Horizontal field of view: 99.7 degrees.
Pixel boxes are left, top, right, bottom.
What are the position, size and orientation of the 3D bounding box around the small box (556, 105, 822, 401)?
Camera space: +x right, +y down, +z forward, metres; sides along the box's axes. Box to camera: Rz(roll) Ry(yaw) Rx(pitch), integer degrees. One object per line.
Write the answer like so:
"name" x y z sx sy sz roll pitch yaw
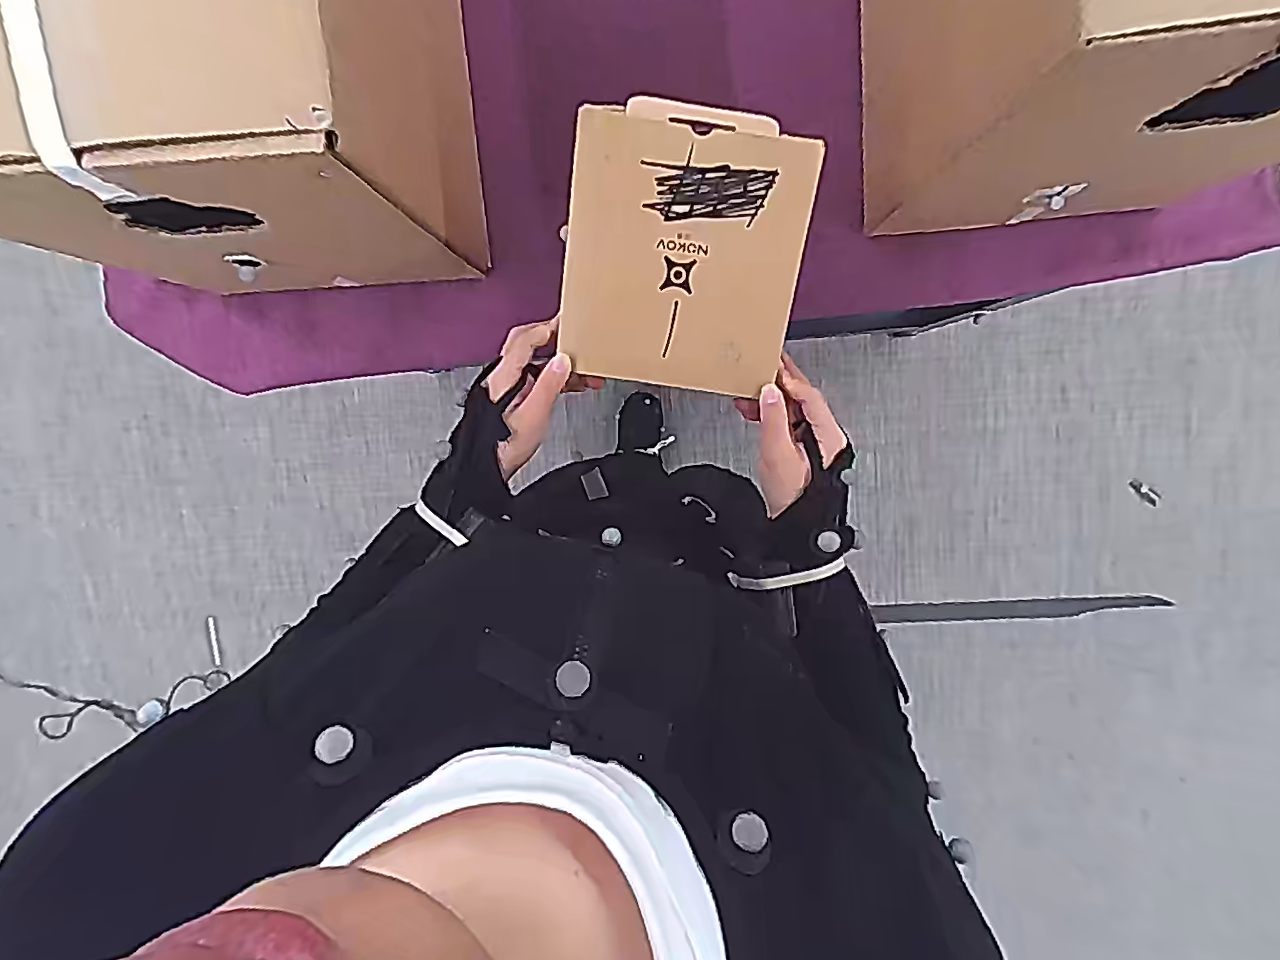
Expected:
"small box" 0.032 -0.175 0.457 0.168 0.176 0.179 9 106 0
